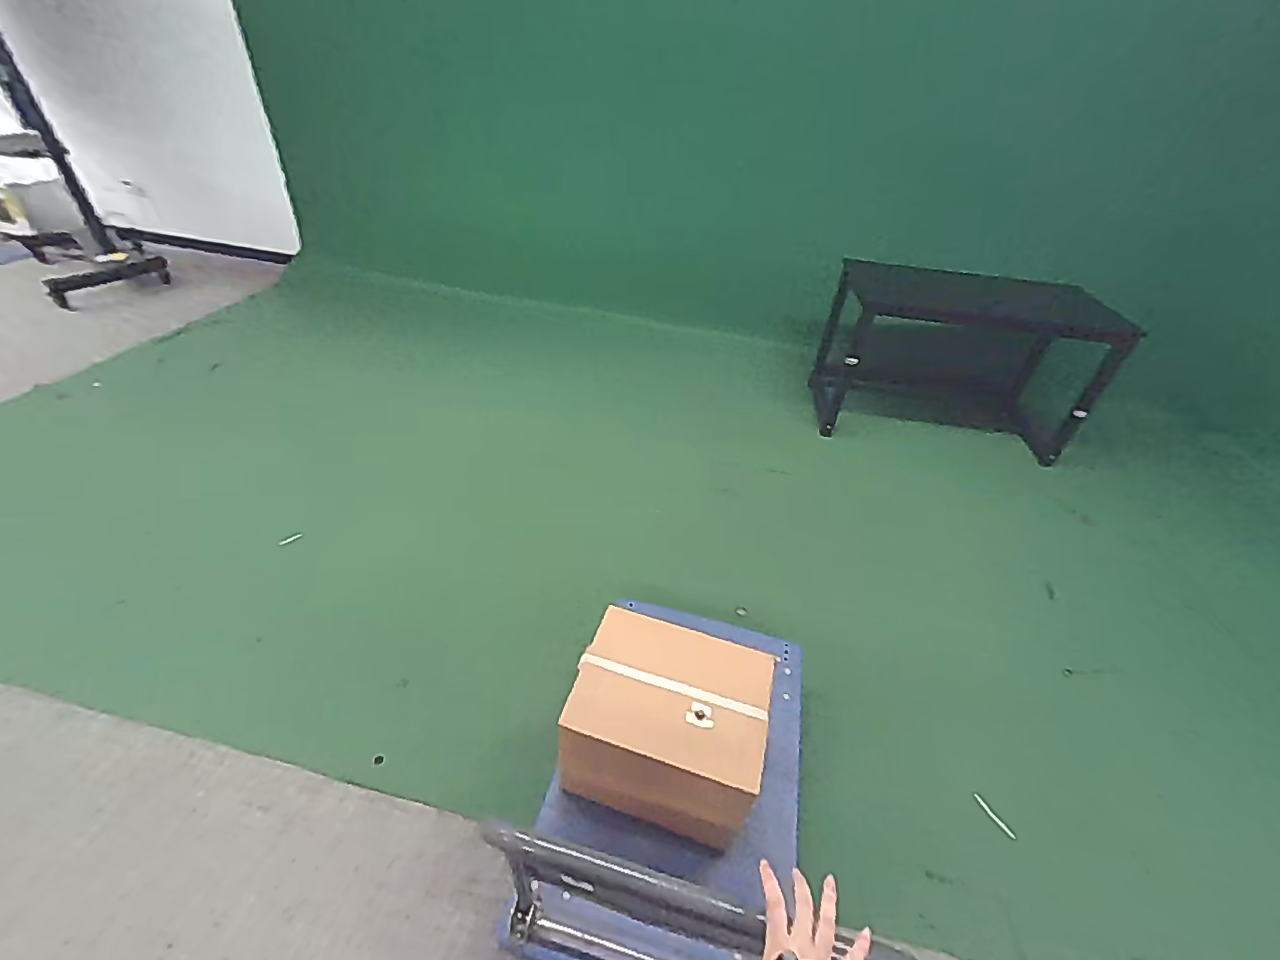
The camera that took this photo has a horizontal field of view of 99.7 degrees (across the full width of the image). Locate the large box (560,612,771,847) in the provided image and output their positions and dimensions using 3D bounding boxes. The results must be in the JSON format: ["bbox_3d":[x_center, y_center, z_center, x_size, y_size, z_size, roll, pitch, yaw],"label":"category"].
[{"bbox_3d":[0.057,0.571,1.257,0.408,0.320,0.320,15,40,9],"label":"large box"}]
